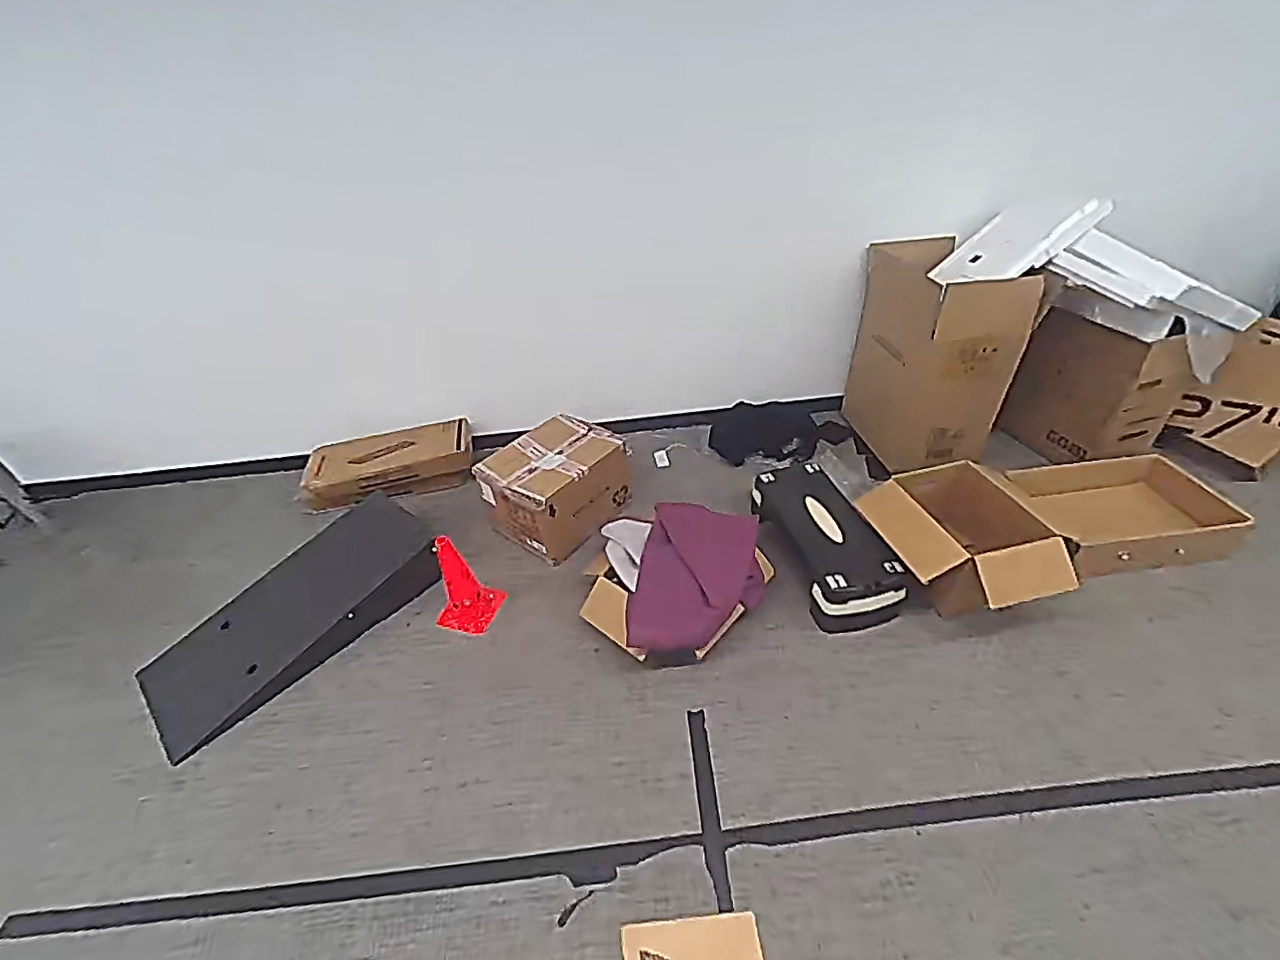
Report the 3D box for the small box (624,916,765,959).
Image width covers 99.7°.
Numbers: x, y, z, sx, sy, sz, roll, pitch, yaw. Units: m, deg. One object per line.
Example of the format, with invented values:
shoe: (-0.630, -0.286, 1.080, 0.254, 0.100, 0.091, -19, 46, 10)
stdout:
small box: (0.078, 0.684, 0.680, 0.179, 0.176, 0.168, -6, 37, 0)
